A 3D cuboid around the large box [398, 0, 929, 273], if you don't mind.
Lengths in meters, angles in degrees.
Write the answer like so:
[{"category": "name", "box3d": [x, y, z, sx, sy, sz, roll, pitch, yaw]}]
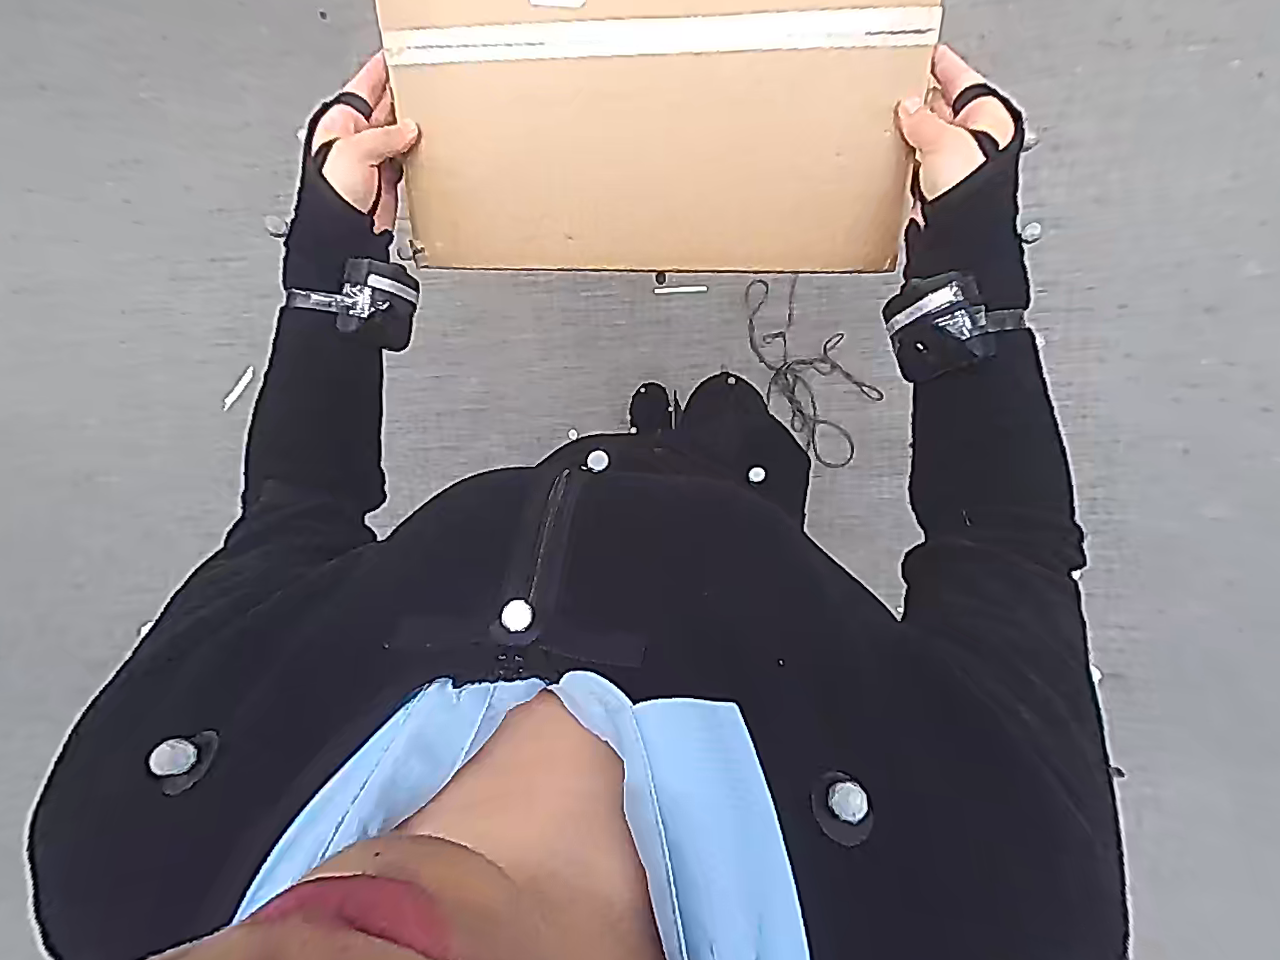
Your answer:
[{"category": "large box", "box3d": [0.028, -0.384, 0.549, 0.408, 0.320, 0.320, 3, 112, 6]}]
